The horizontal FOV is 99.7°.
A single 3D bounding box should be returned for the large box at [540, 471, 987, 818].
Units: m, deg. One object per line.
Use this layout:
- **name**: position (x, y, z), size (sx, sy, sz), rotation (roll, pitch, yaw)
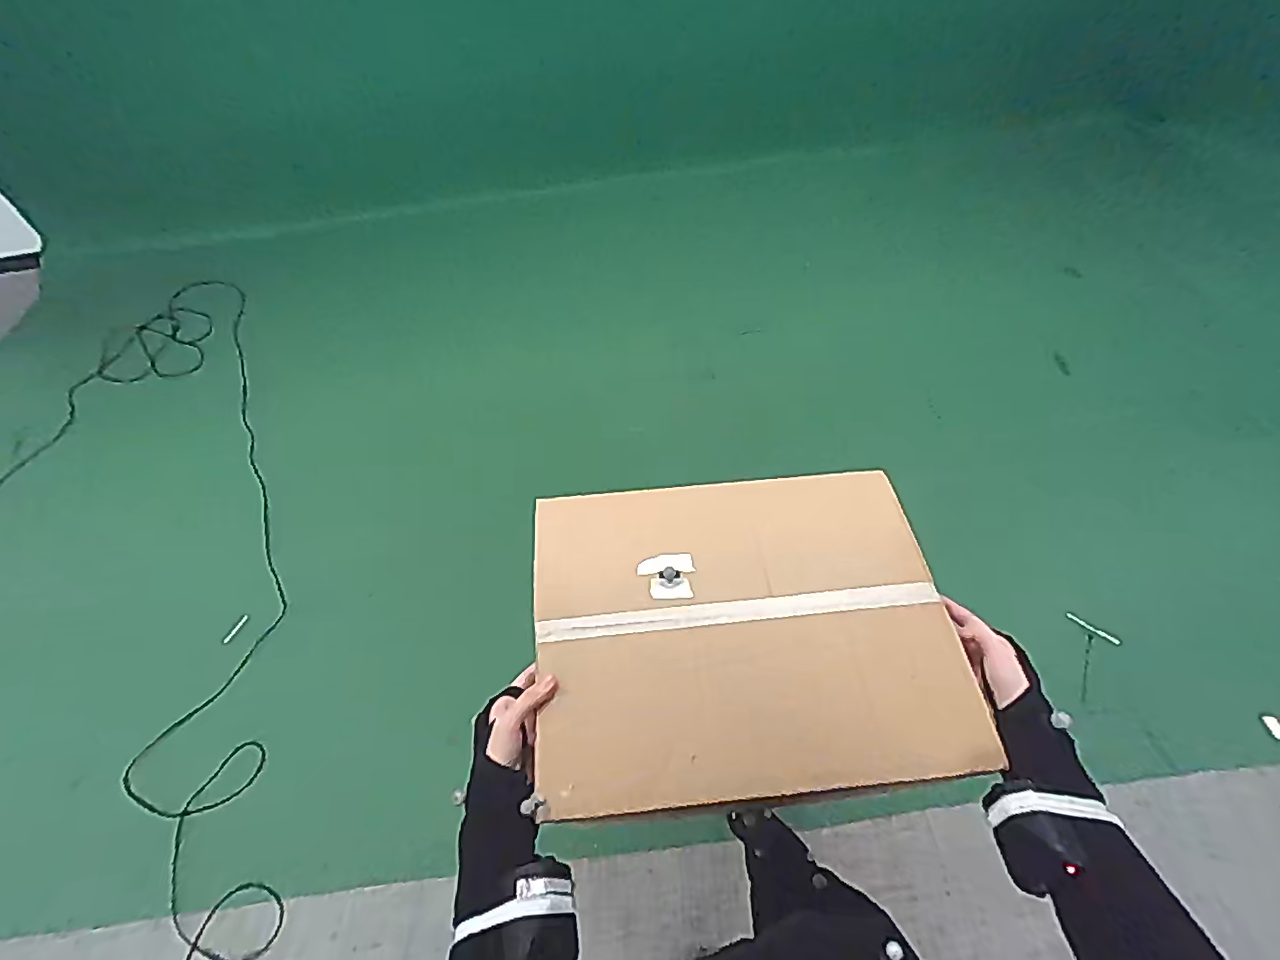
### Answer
- **large box**: position (0.104, 0.218, 0.677), size (0.408, 0.320, 0.320), rotation (-6, 56, -2)
